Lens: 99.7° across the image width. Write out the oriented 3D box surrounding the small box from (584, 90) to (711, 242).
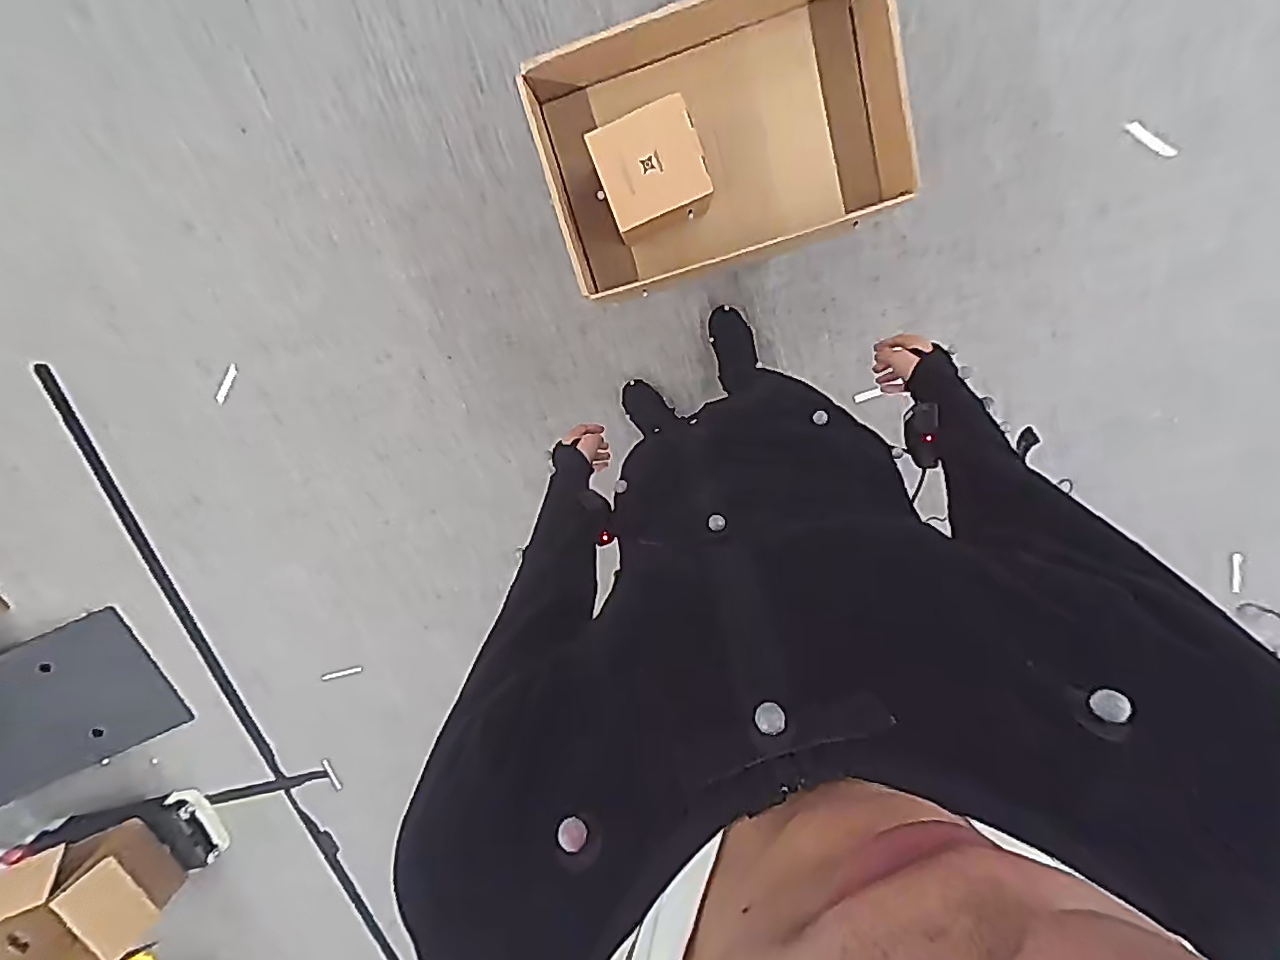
[{"bbox_3d":[0.015,-0.555,0.983,0.179,0.176,0.168,-20,103,8],"label":"small box"}]
